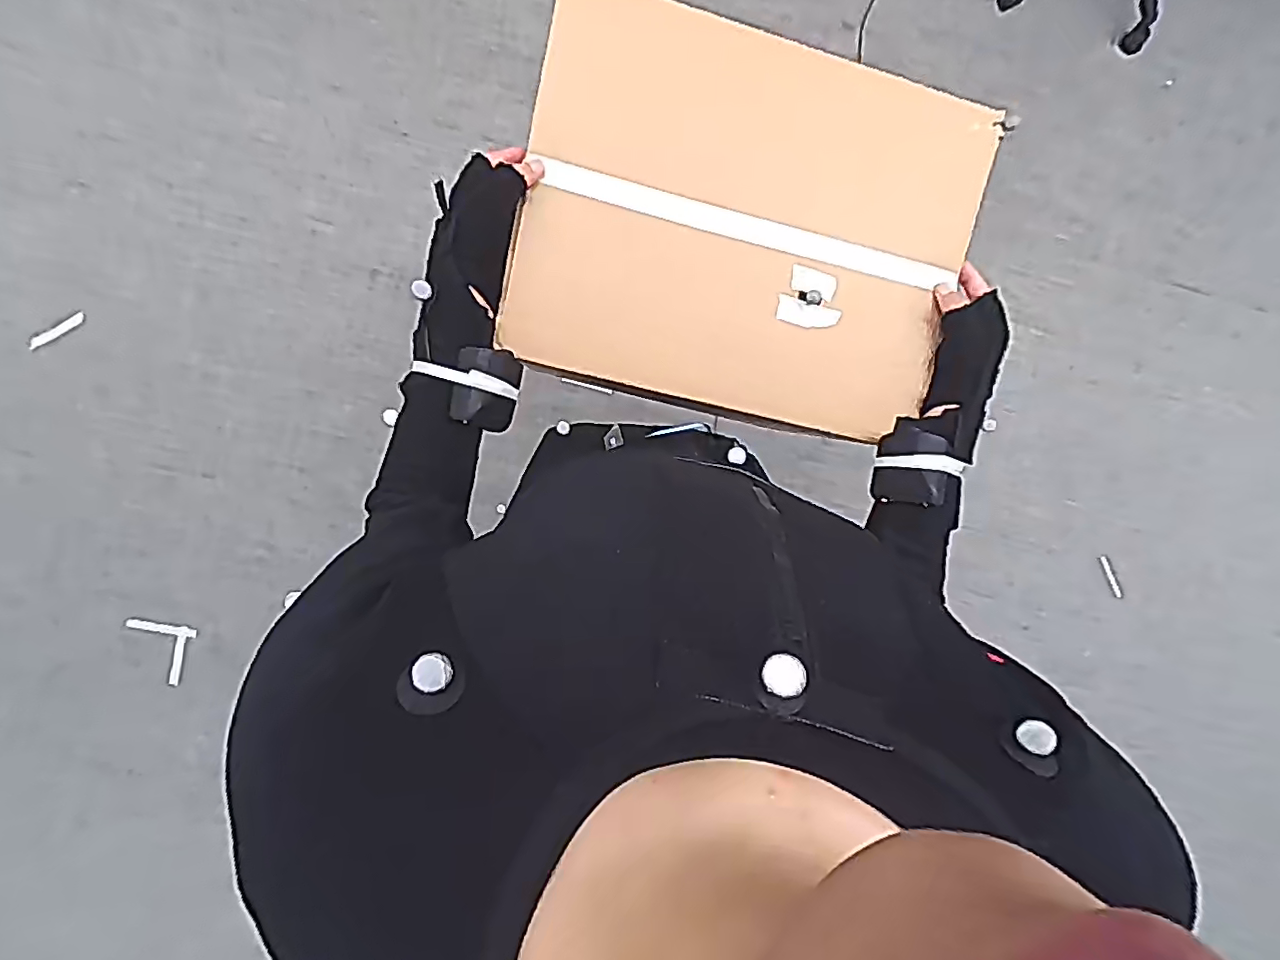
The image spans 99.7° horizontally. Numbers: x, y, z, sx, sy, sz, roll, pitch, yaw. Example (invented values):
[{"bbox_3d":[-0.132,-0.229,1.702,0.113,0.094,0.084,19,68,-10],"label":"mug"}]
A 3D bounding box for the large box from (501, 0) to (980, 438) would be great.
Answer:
[{"bbox_3d":[0.077,-0.248,0.640,0.408,0.320,0.320,12,98,-9],"label":"large box"}]
